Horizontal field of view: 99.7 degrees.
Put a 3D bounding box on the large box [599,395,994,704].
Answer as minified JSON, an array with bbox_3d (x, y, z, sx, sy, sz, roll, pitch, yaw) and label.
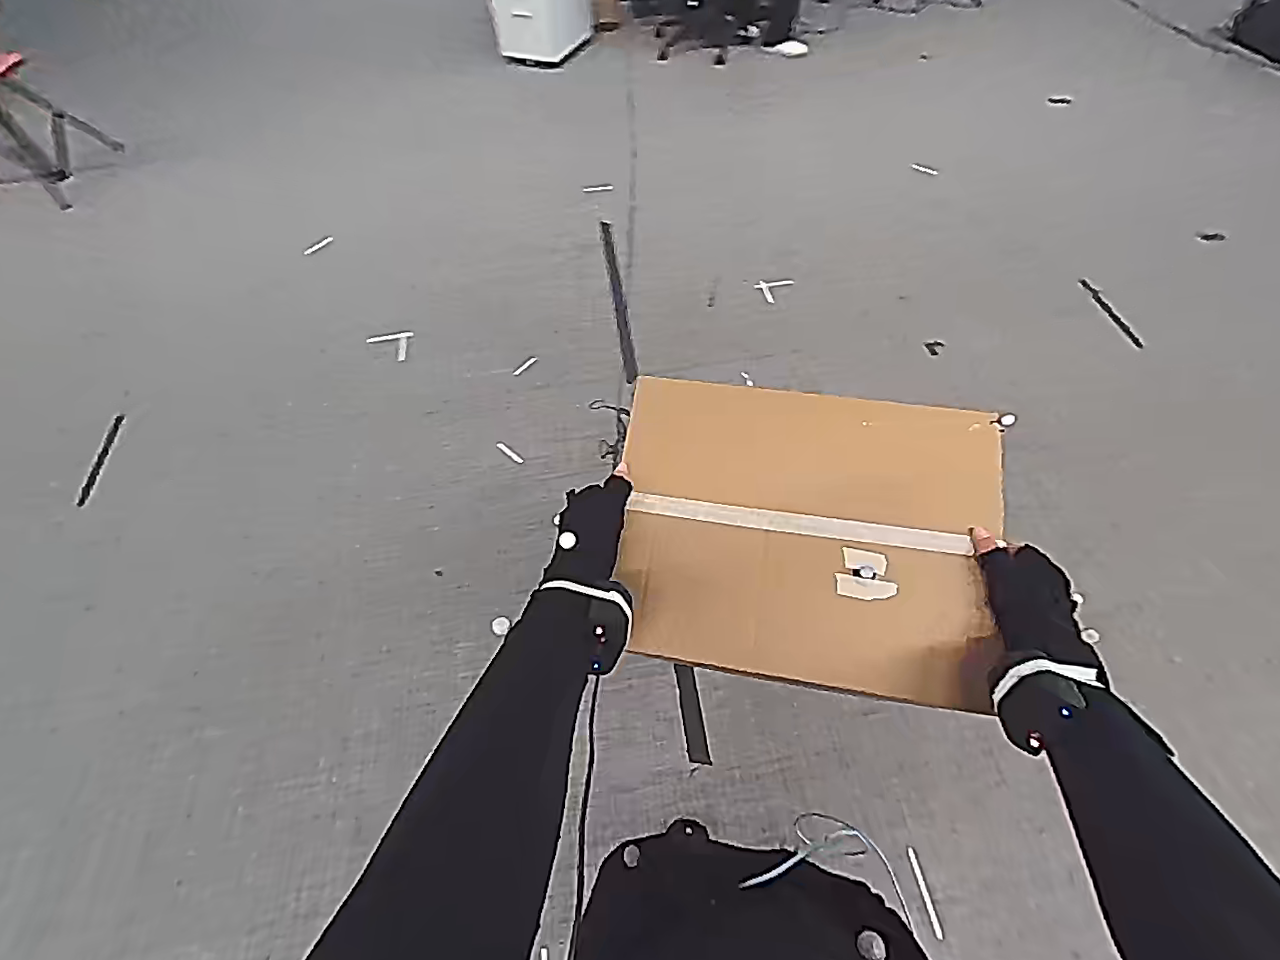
[{"bbox_3d":[0.179,0.106,0.735,0.408,0.320,0.320,7,72,7],"label":"large box"}]
